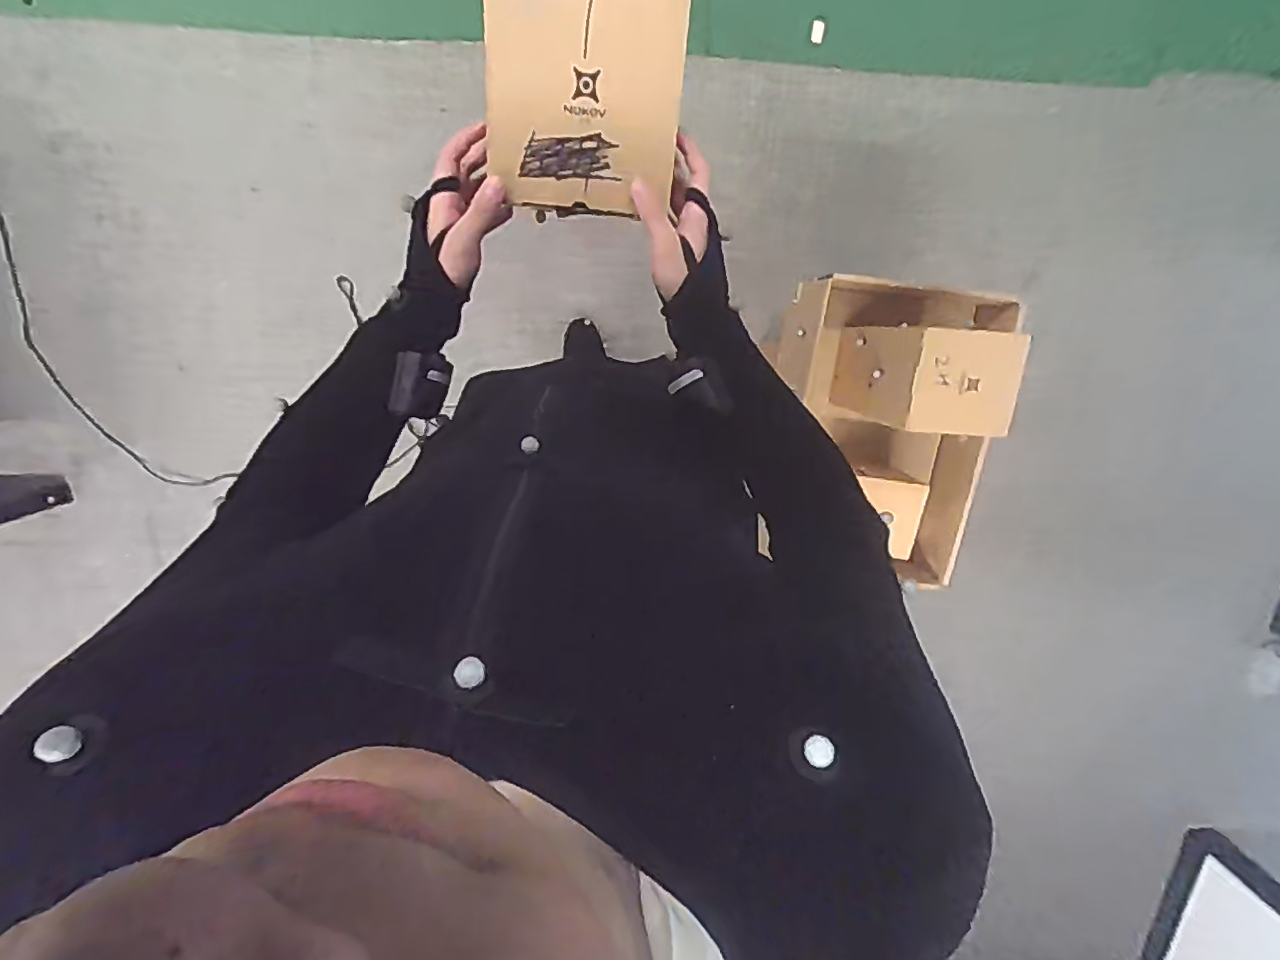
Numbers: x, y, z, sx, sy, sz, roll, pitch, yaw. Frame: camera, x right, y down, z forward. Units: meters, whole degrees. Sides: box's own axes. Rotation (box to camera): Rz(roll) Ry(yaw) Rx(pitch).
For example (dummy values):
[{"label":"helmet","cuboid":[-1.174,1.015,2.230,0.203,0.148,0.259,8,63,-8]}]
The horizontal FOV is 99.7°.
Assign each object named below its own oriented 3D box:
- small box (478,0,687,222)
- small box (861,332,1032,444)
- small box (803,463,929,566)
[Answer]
[{"label":"small box","cuboid":[-0.055,-0.353,0.522,0.168,0.176,0.179,3,114,-6]},{"label":"small box","cuboid":[0.515,-0.164,0.933,0.179,0.176,0.168,3,105,-4]},{"label":"small box","cuboid":[0.477,0.069,1.168,0.179,0.176,0.168,8,105,-4]}]
